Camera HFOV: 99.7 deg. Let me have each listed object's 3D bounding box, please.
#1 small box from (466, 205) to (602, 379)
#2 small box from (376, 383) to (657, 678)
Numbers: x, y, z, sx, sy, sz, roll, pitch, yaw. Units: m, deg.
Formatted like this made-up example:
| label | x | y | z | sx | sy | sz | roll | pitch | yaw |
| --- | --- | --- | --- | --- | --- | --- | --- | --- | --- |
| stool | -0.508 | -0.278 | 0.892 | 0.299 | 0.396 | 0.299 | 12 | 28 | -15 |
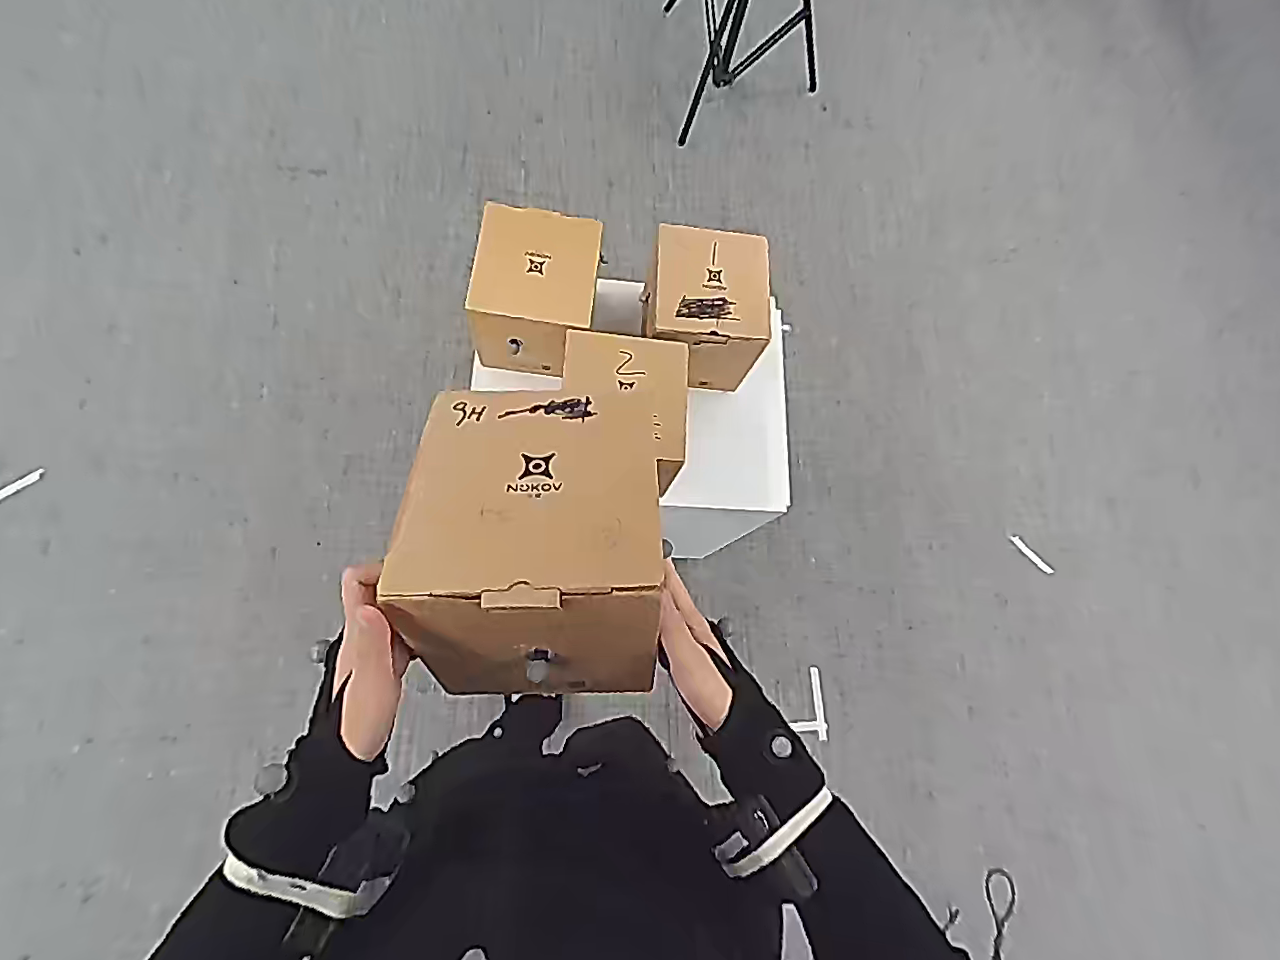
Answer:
| label | x | y | z | sx | sy | sz | roll | pitch | yaw |
| --- | --- | --- | --- | --- | --- | --- | --- | --- | --- |
| small box | -0.150 | -0.269 | 0.810 | 0.168 | 0.176 | 0.179 | 7 | 73 | -7 |
| small box | -0.072 | 0.046 | 0.421 | 0.168 | 0.176 | 0.179 | -1 | 52 | -2 |
